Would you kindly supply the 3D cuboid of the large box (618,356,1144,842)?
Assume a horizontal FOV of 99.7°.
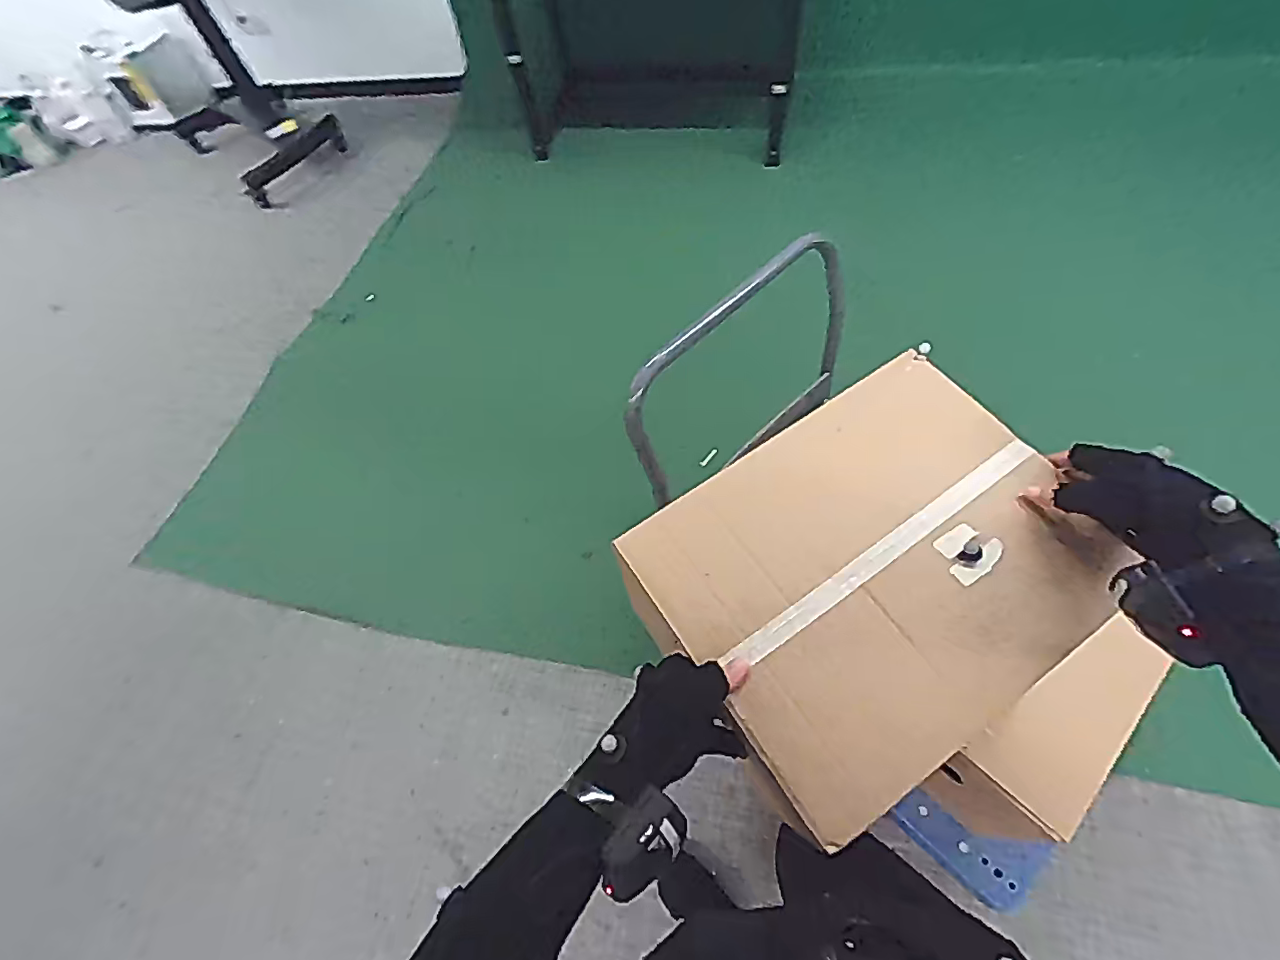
[{"bbox_3d":[0.229,0.137,0.649,0.408,0.320,0.320,-32,66,-12],"label":"large box"}]
